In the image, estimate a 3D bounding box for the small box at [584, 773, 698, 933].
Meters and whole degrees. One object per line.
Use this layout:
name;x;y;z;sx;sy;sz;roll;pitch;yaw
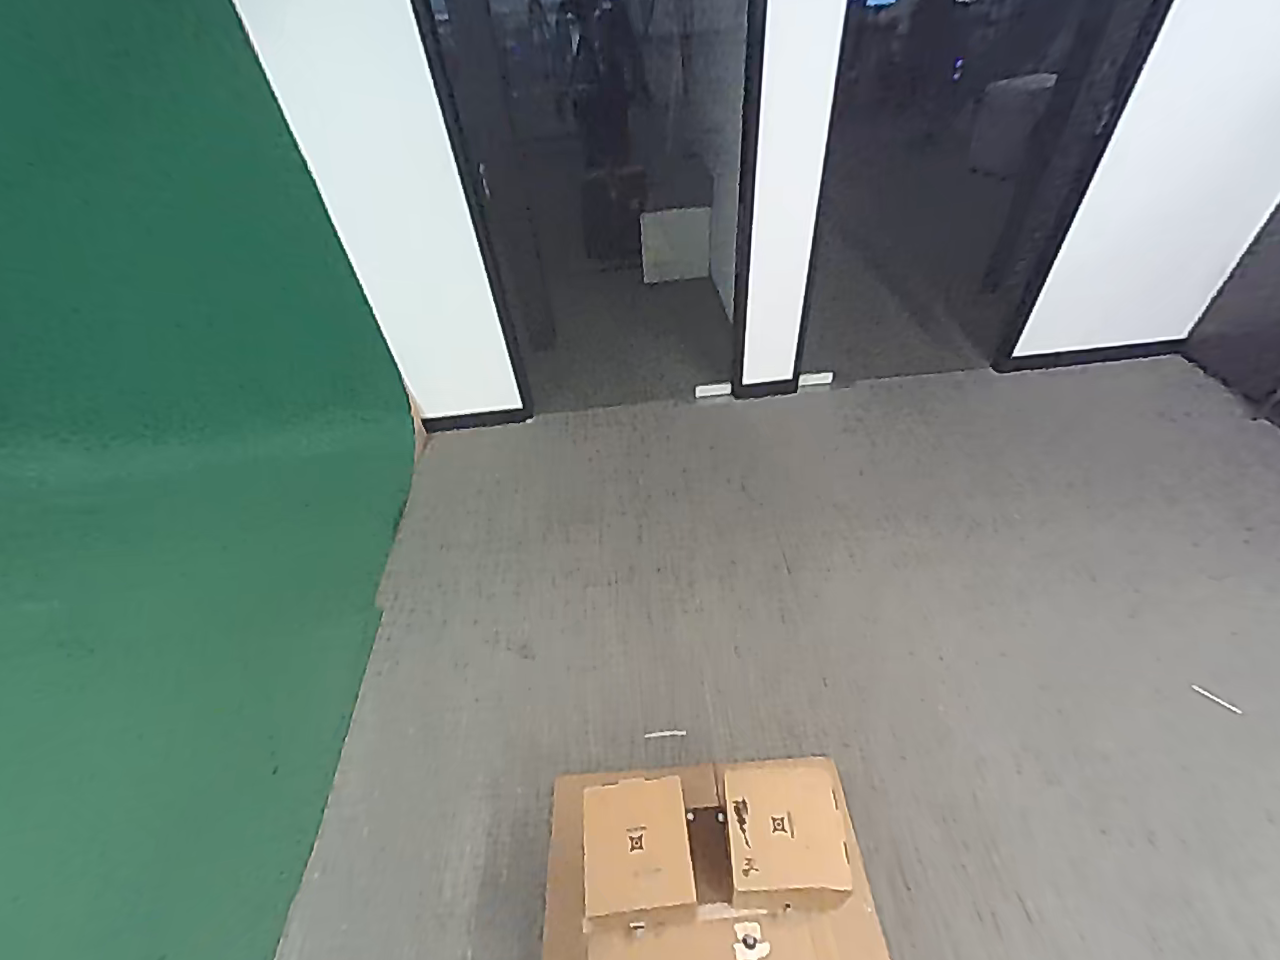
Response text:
small box;0.000;0.618;0.898;0.168;0.176;0.179;-8;43;-2

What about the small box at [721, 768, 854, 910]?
small box;0.231;0.594;0.895;0.179;0.176;0.168;-3;44;4

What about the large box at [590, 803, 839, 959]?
large box;0.118;0.833;1.014;0.408;0.320;0.320;-5;44;-1
